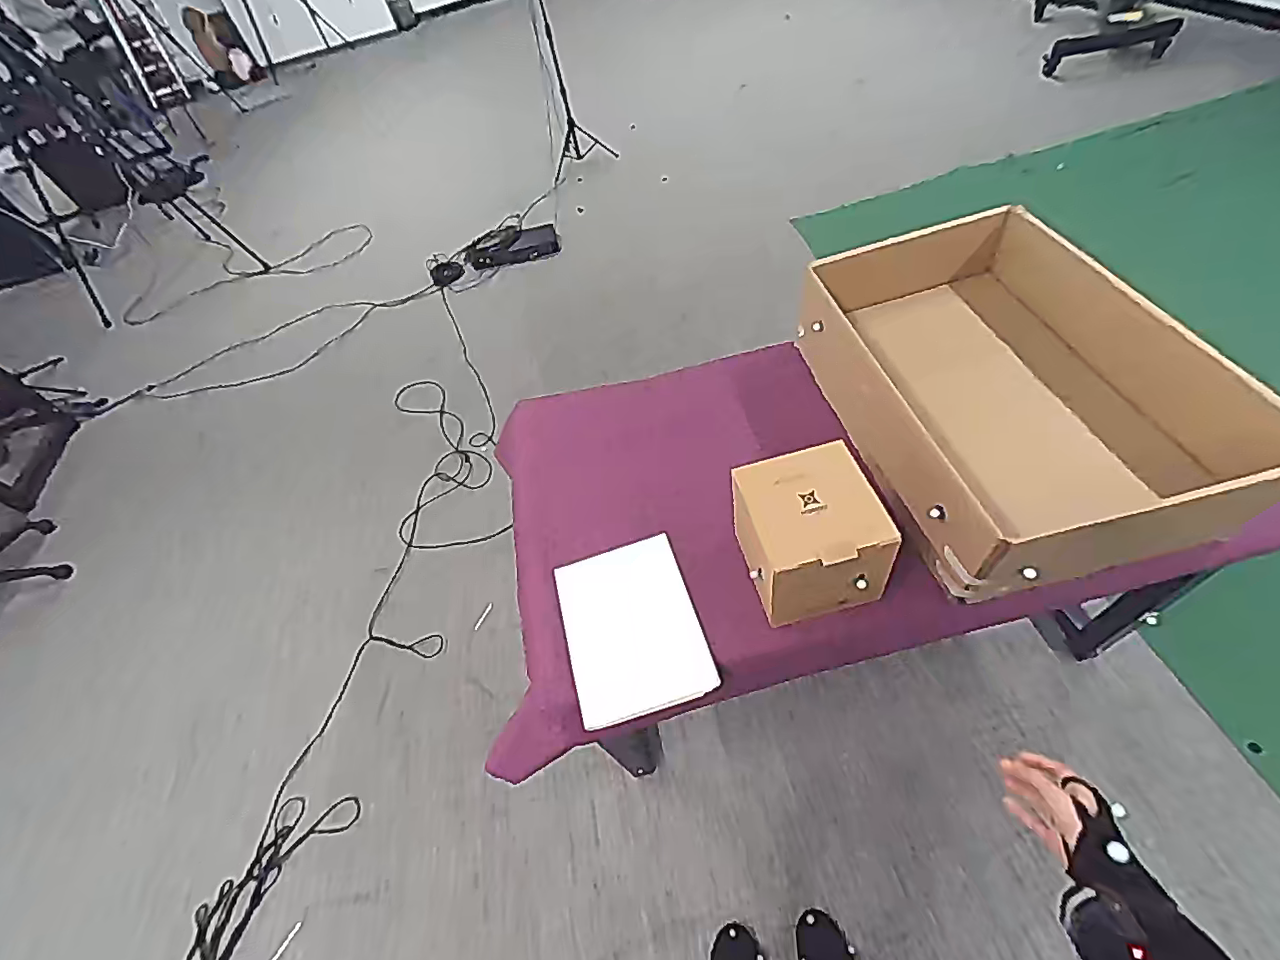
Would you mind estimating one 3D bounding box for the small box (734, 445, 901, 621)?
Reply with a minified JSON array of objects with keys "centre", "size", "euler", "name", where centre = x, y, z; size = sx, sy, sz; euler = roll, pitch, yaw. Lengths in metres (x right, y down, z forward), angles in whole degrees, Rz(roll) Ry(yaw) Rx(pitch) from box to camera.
[{"centre":[0.240,0.084,0.771],"size":[0.168,0.176,0.179],"euler":[-14,49,1],"name":"small box"}]
